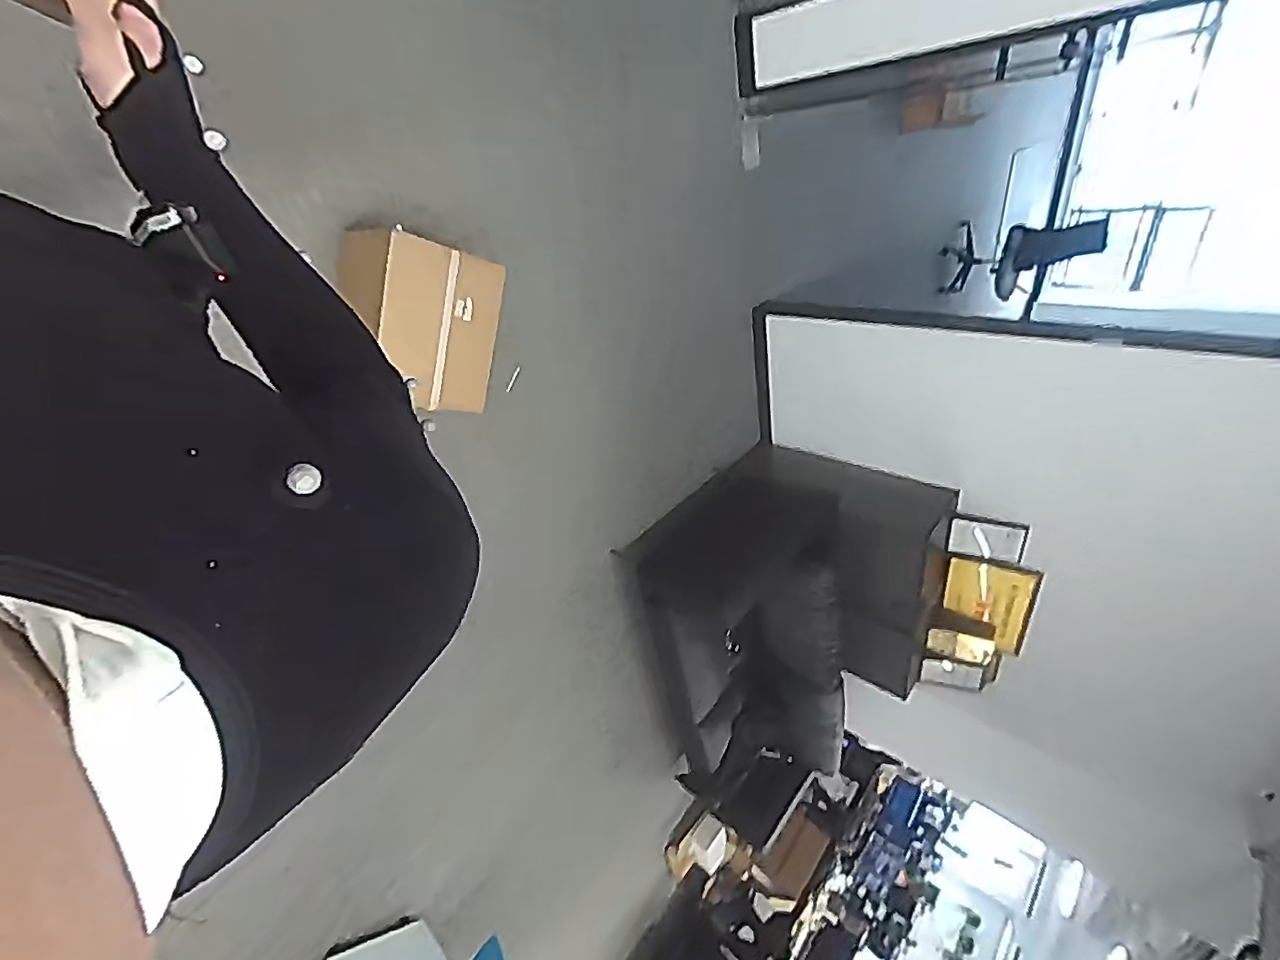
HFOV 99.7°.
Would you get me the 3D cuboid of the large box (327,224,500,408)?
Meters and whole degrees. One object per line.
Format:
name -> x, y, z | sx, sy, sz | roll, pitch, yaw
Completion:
large box -> -0.619, -0.428, 1.463 | 0.320, 0.320, 0.408 | 0, 106, -50
